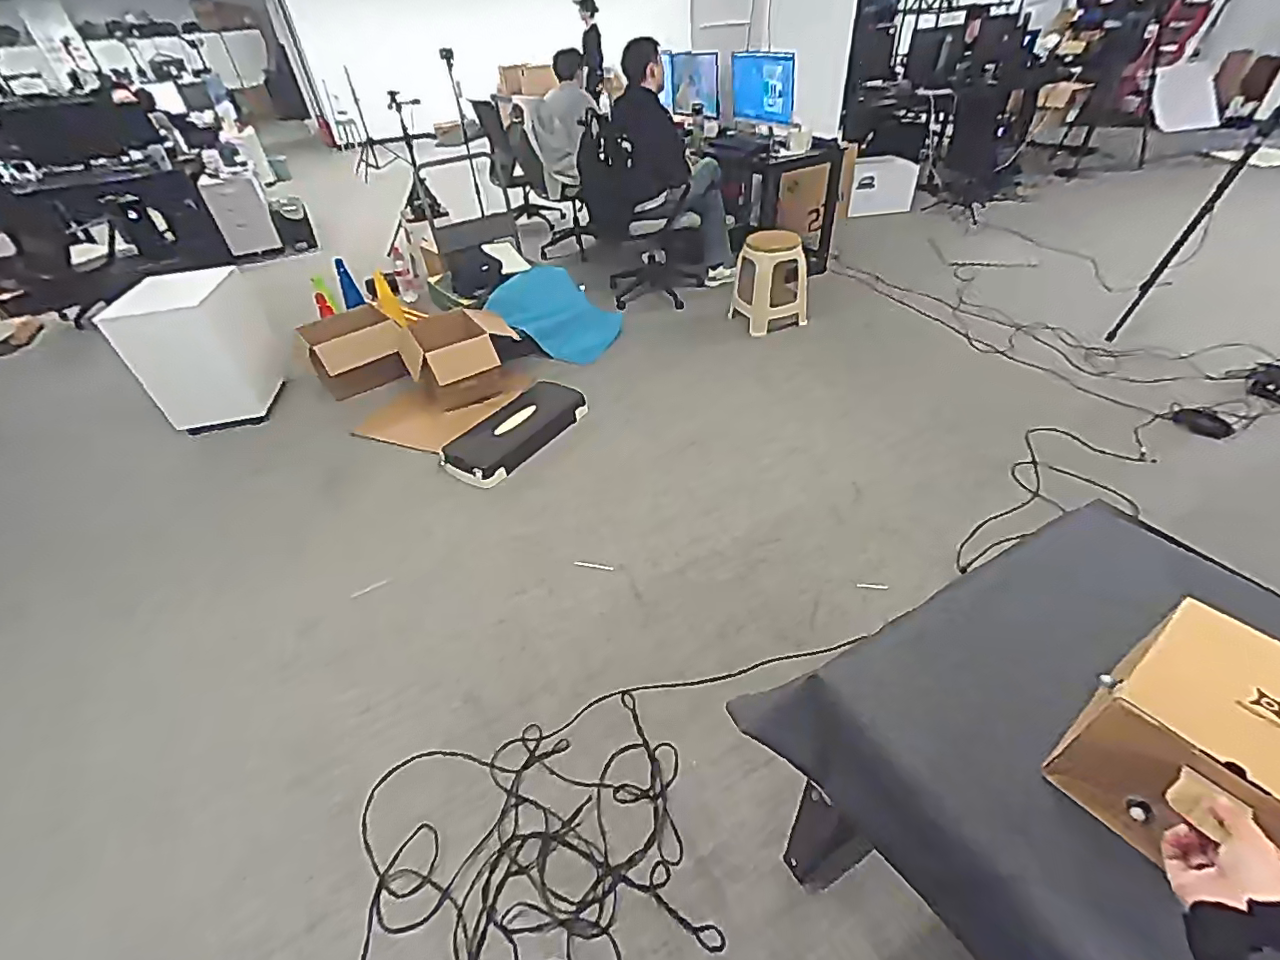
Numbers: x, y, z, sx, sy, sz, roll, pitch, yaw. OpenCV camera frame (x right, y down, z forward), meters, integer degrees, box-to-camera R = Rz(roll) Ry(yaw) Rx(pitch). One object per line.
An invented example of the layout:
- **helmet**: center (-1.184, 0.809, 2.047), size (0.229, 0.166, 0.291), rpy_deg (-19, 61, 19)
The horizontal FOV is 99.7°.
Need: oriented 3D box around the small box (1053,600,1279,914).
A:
- **small box**: center (0.545, 0.257, 0.516), size (0.179, 0.176, 0.168), rpy_deg (-29, 46, -25)
